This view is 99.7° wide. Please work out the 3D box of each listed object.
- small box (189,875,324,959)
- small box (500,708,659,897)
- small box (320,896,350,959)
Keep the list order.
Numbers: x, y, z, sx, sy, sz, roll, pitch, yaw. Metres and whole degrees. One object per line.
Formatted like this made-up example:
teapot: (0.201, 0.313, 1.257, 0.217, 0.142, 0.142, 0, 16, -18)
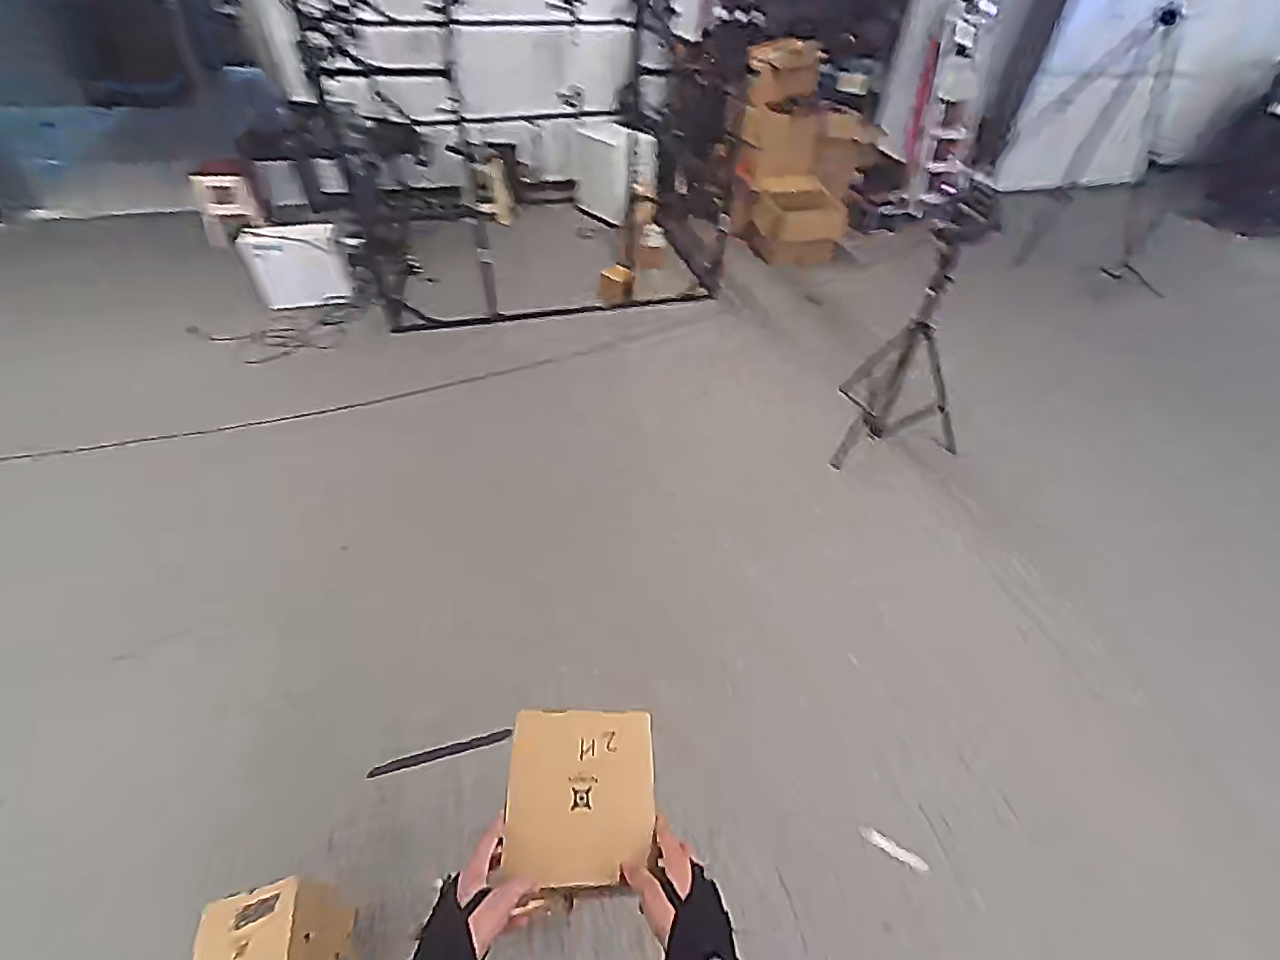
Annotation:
small box: (-0.732, 0.905, 1.042, 0.168, 0.176, 0.179, -11, 47, -12)
small box: (-0.073, 0.399, 0.662, 0.168, 0.176, 0.179, 6, 48, -8)
small box: (-0.741, 1.024, 1.155, 0.179, 0.176, 0.168, -12, 47, -12)
